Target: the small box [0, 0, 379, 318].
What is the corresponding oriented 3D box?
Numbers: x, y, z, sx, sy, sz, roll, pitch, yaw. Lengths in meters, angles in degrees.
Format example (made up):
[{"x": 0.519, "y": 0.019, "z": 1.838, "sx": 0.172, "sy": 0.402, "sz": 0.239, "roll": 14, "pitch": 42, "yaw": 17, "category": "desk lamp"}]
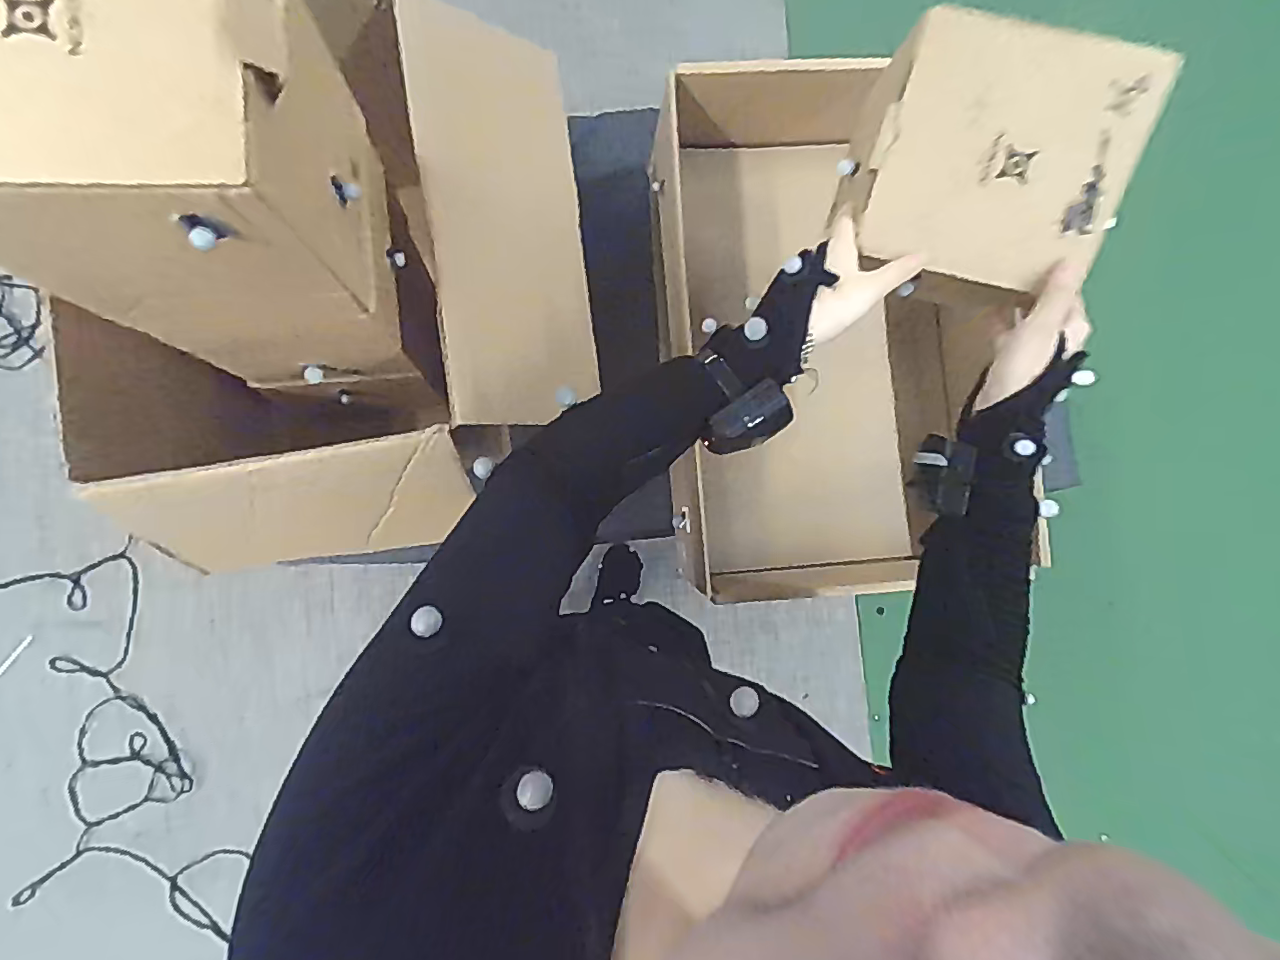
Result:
[{"x": -0.284, "y": -0.210, "z": 0.336, "sx": 0.179, "sy": 0.176, "sz": 0.168, "roll": -5, "pitch": 86, "yaw": -10, "category": "small box"}]
